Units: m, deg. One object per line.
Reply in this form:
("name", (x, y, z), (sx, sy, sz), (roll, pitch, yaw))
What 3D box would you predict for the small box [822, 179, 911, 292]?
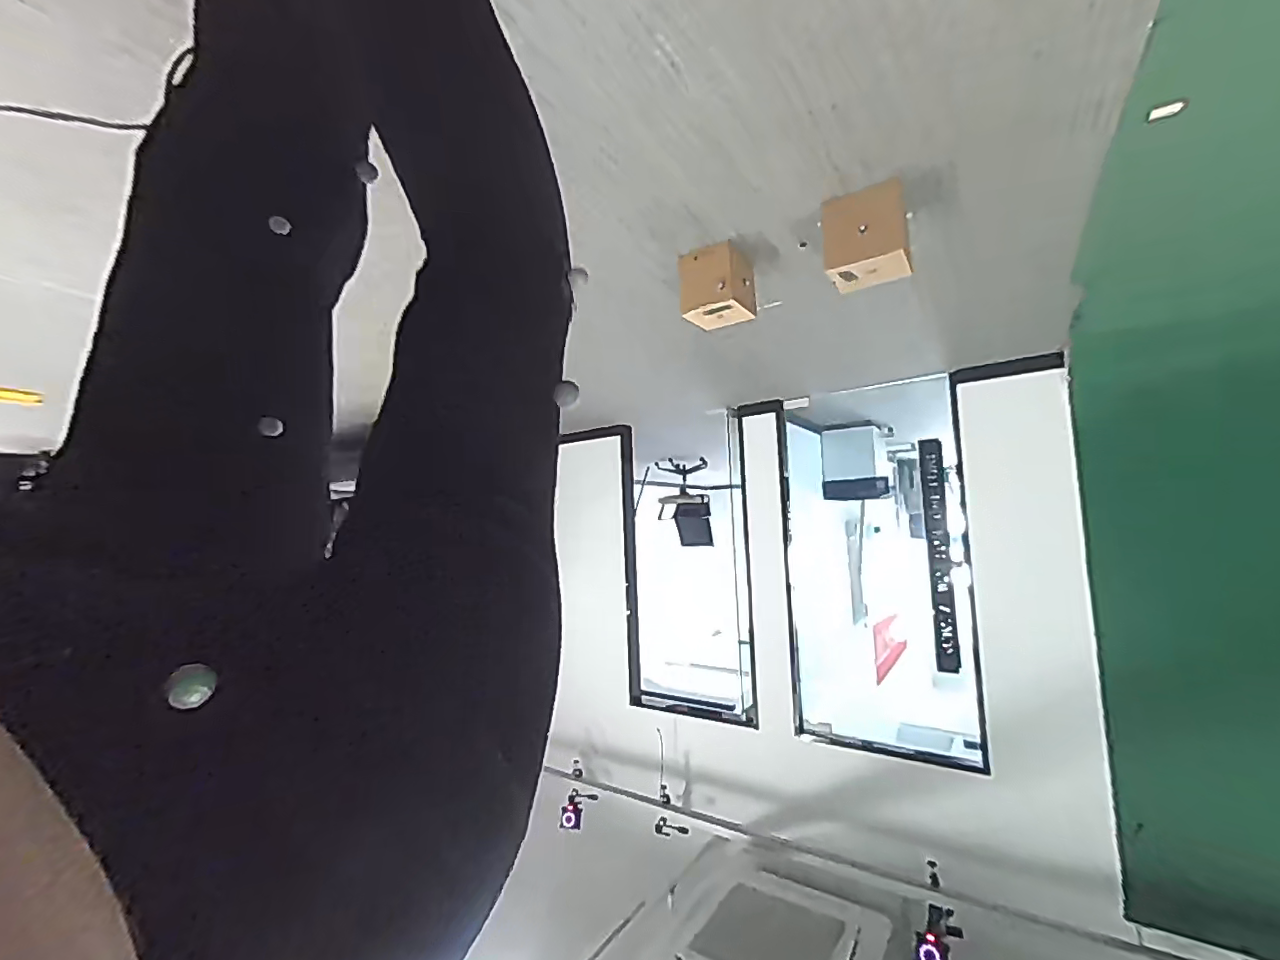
("small box", (0.550, -0.588, 1.316), (0.179, 0.176, 0.168), (-7, 174, 33))
